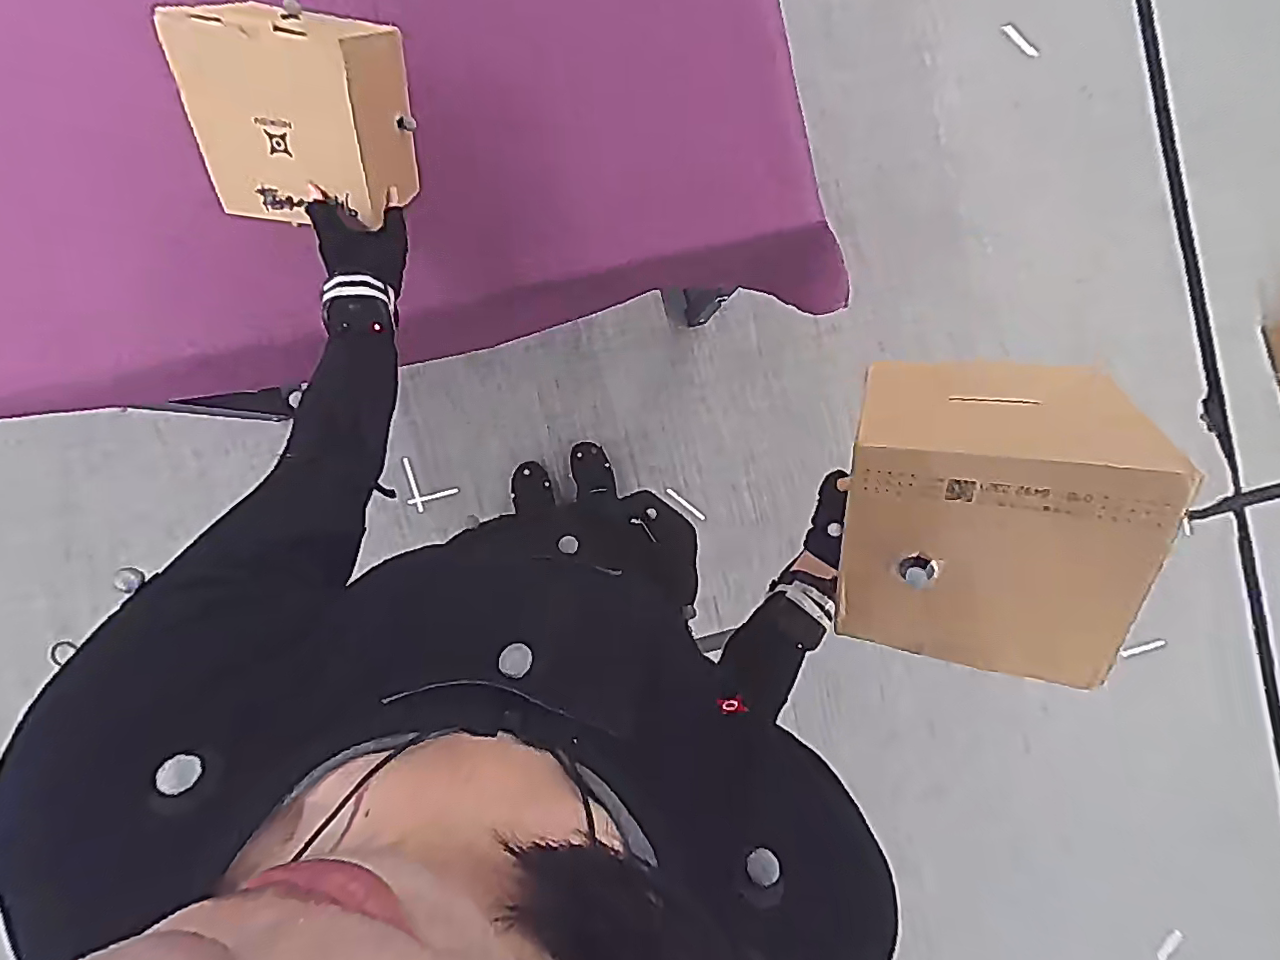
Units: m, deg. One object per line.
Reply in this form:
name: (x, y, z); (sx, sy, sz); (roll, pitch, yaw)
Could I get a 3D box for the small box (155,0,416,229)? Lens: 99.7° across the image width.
small box: (-0.366, -0.404, 0.603); (0.168, 0.176, 0.179); (6, 129, -5)

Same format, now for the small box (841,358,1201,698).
small box: (0.247, 0.016, 0.395); (0.168, 0.179, 0.176); (9, 123, 22)
